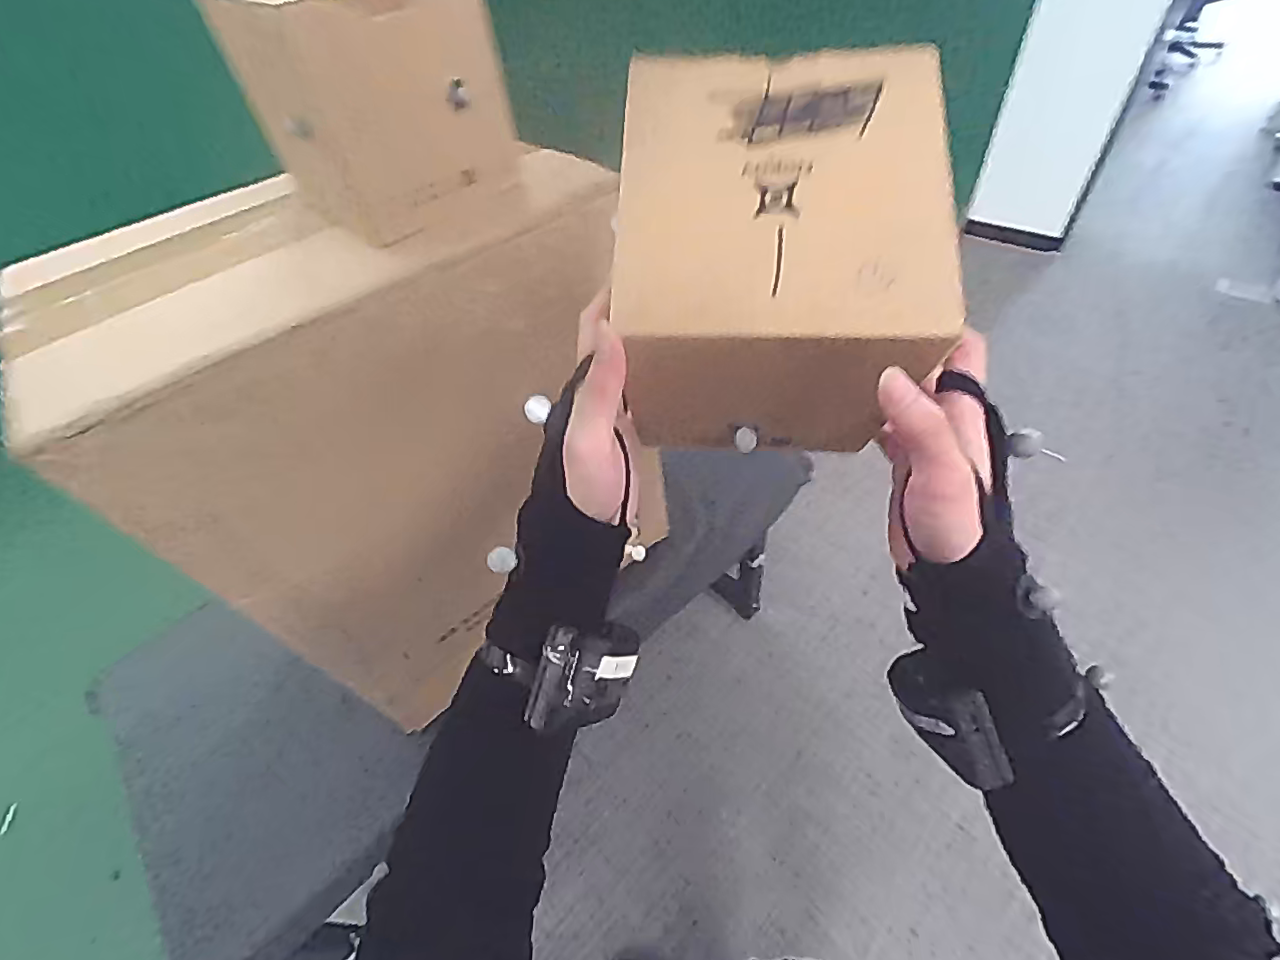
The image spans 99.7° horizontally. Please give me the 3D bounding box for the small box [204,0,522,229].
[{"bbox_3d":[-0.227,-0.345,0.474,0.179,0.176,0.168,35,59,28],"label":"small box"}]
